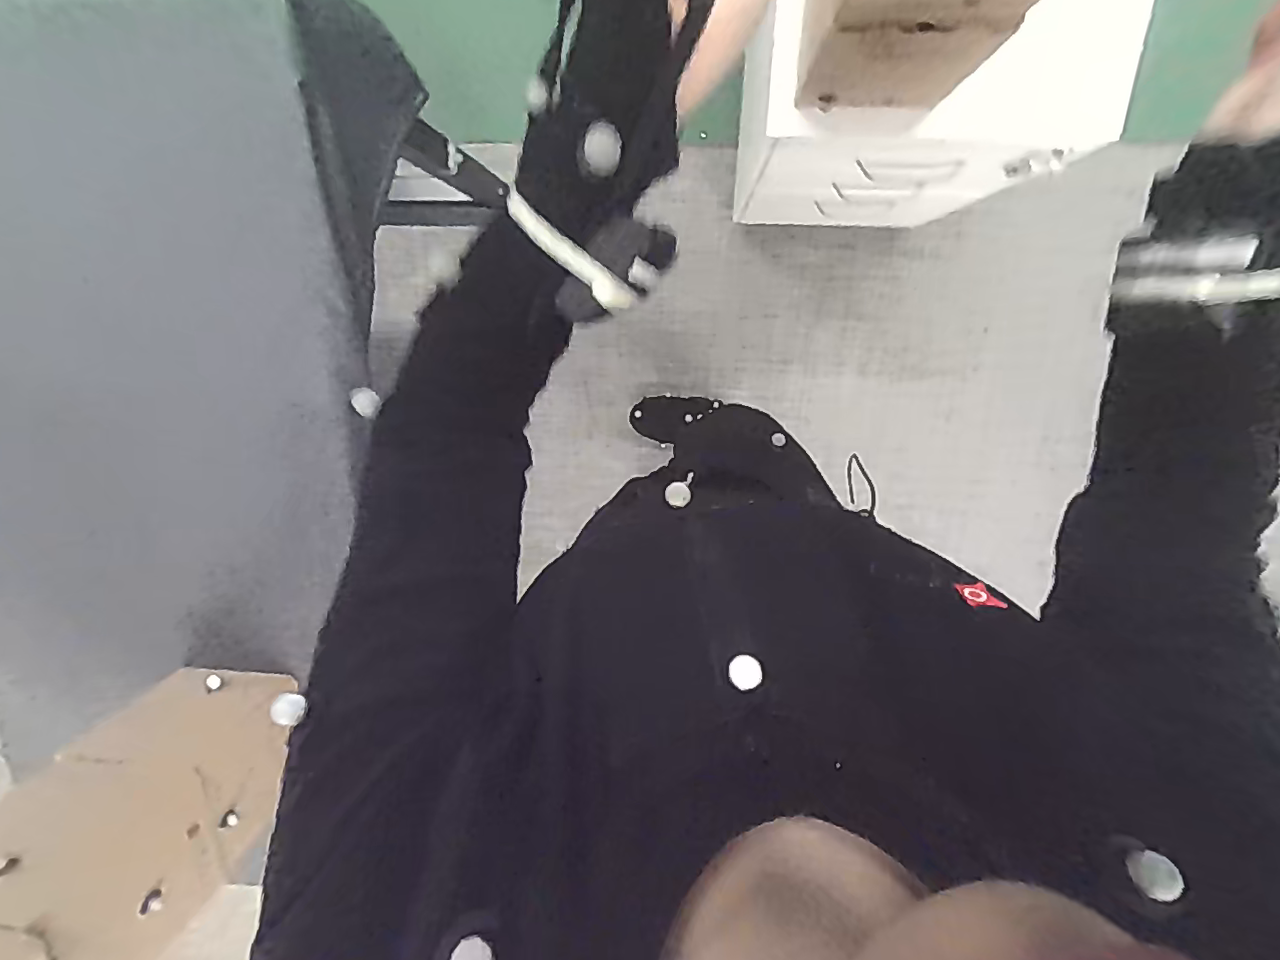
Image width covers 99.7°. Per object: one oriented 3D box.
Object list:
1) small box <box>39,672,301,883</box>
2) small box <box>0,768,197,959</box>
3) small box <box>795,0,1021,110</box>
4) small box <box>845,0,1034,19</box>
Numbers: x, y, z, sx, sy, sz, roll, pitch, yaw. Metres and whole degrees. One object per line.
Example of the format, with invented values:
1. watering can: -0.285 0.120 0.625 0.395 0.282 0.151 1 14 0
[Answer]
1. small box: -0.582 0.367 0.694 0.179 0.176 0.168 2 106 5
2. small box: -0.588 0.417 0.537 0.179 0.176 0.168 3 105 4
3. small box: 0.255 -0.489 0.526 0.168 0.176 0.179 3 105 3
4. small box: 0.242 -0.455 0.368 0.168 0.176 0.179 1 104 2
